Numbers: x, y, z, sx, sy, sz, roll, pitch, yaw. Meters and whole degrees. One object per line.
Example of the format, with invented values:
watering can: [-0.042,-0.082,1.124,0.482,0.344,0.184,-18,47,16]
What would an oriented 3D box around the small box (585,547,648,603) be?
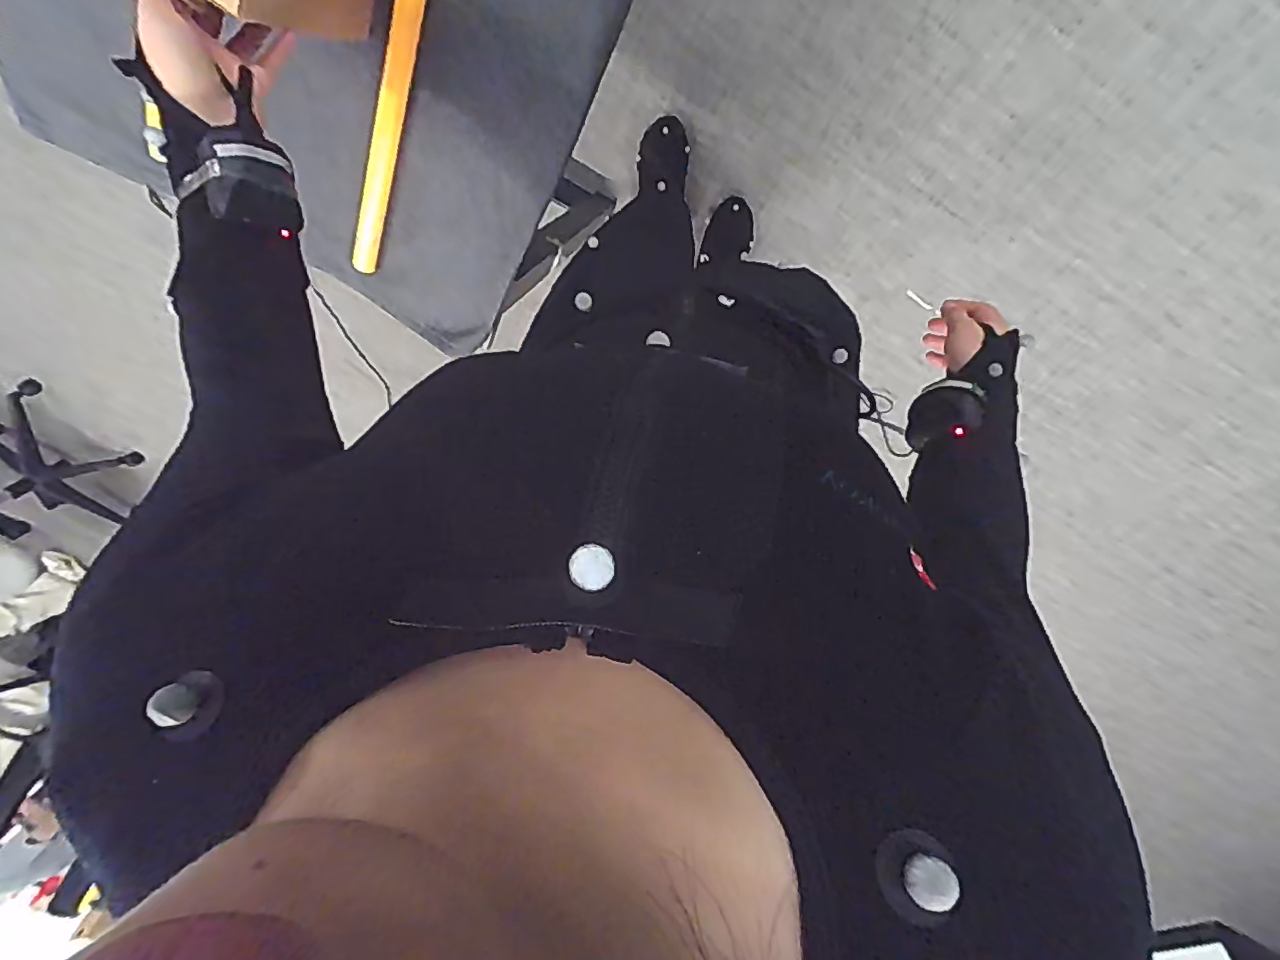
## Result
small box: [-0.082,0.365,1.882,0.168,0.176,0.179,25,127,-7]

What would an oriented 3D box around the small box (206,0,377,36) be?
small box: [-0.308,-0.486,0.414,0.168,0.176,0.179,30,125,-10]

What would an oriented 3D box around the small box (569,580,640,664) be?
small box: [-0.109,0.453,1.744,0.168,0.176,0.179,24,127,-6]
